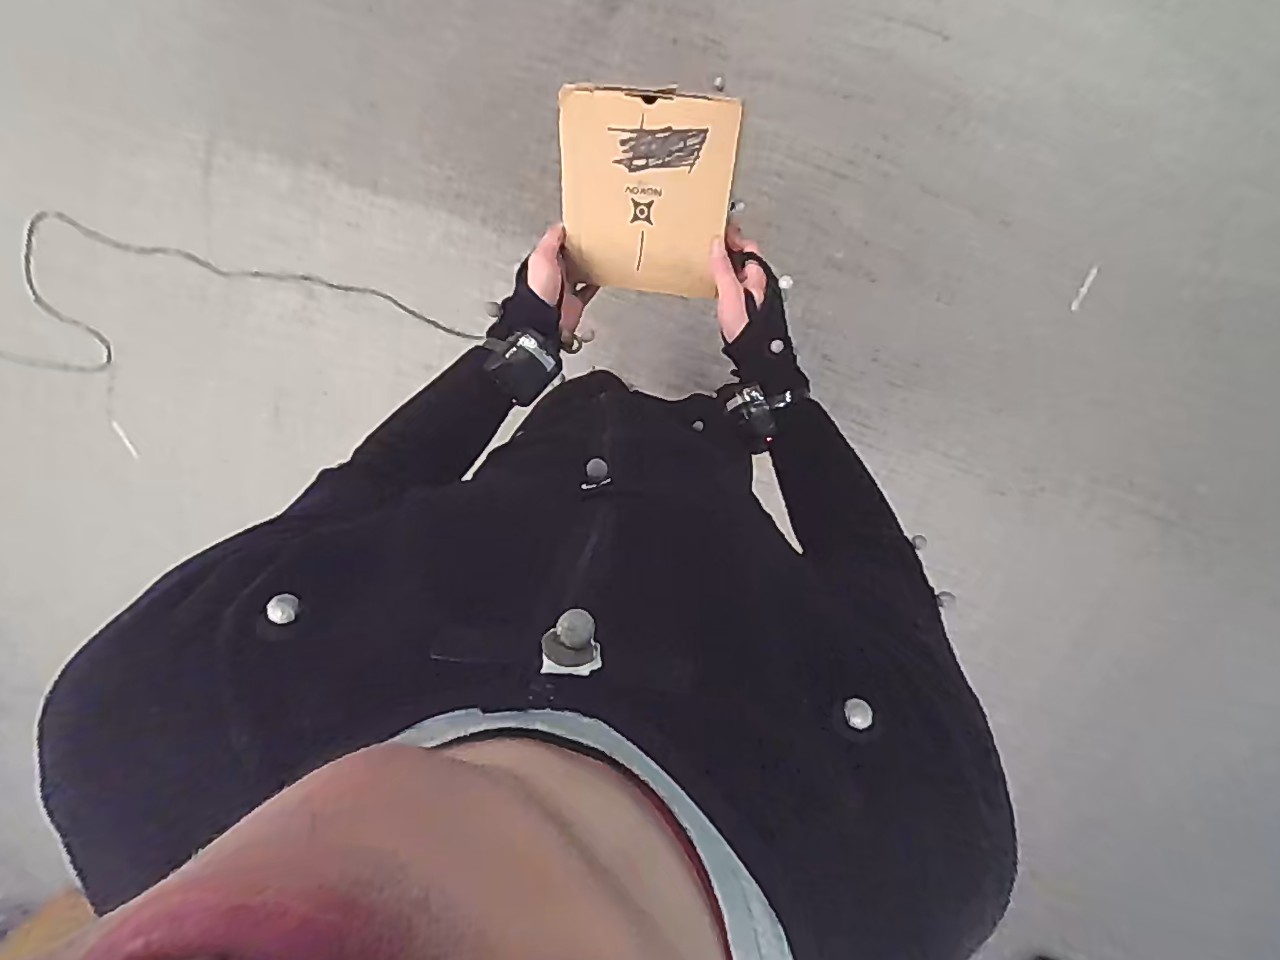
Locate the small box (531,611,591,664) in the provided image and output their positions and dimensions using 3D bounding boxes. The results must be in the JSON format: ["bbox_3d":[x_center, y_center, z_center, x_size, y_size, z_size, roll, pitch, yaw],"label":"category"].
[{"bbox_3d":[-0.260,0.534,1.668,0.168,0.176,0.179,22,105,2],"label":"small box"}]

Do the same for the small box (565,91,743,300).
[{"bbox_3d":[0.019,-0.320,0.600,0.168,0.176,0.179,8,128,7],"label":"small box"}]

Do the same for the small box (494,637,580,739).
[{"bbox_3d":[-0.279,0.572,1.511,0.168,0.176,0.179,22,107,2],"label":"small box"}]
